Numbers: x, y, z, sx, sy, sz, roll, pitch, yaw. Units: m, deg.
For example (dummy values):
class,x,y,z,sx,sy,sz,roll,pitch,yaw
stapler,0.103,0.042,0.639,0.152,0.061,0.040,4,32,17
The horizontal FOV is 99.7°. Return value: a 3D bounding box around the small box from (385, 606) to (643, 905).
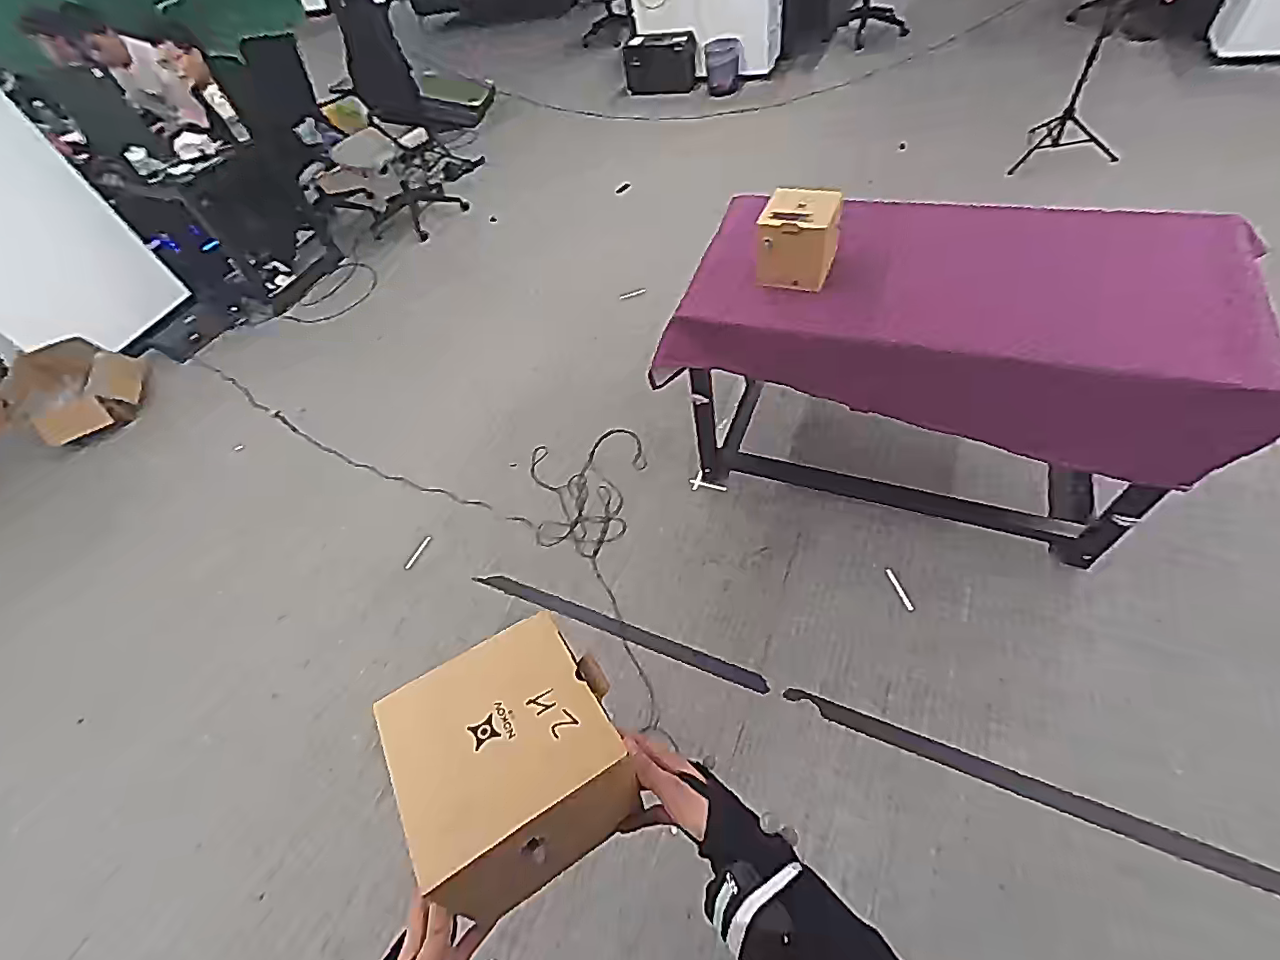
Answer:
class,x,y,z,sx,sy,sz,roll,pitch,yaw
small box,-0.111,0.264,0.521,0.179,0.176,0.168,-25,48,-19
